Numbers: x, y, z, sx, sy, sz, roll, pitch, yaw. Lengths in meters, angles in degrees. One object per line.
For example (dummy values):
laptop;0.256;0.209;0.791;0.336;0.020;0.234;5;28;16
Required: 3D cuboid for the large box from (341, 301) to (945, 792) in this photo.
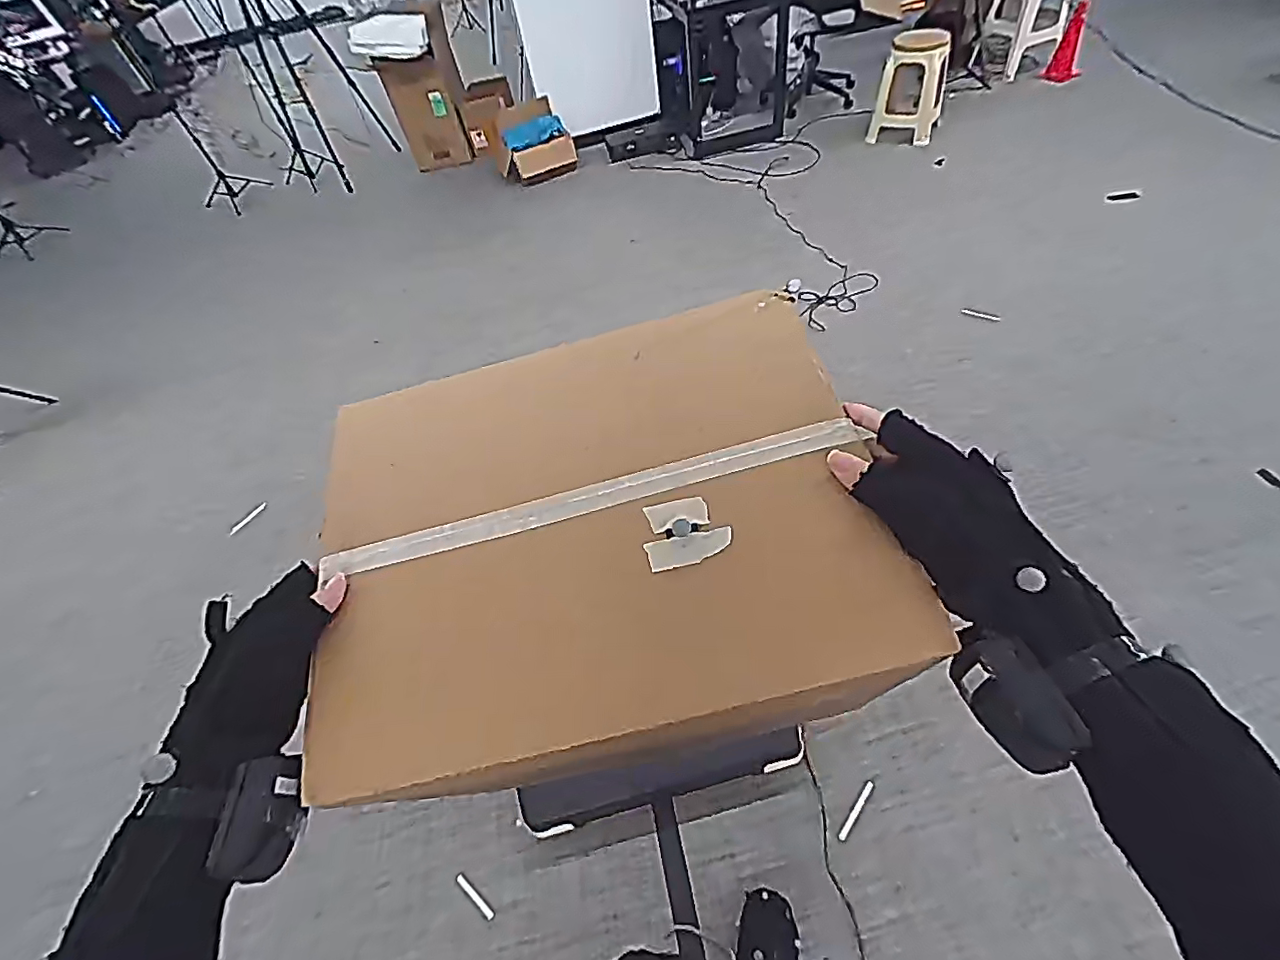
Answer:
large box;-0.010;0.090;0.540;0.408;0.320;0.320;-15;61;2
